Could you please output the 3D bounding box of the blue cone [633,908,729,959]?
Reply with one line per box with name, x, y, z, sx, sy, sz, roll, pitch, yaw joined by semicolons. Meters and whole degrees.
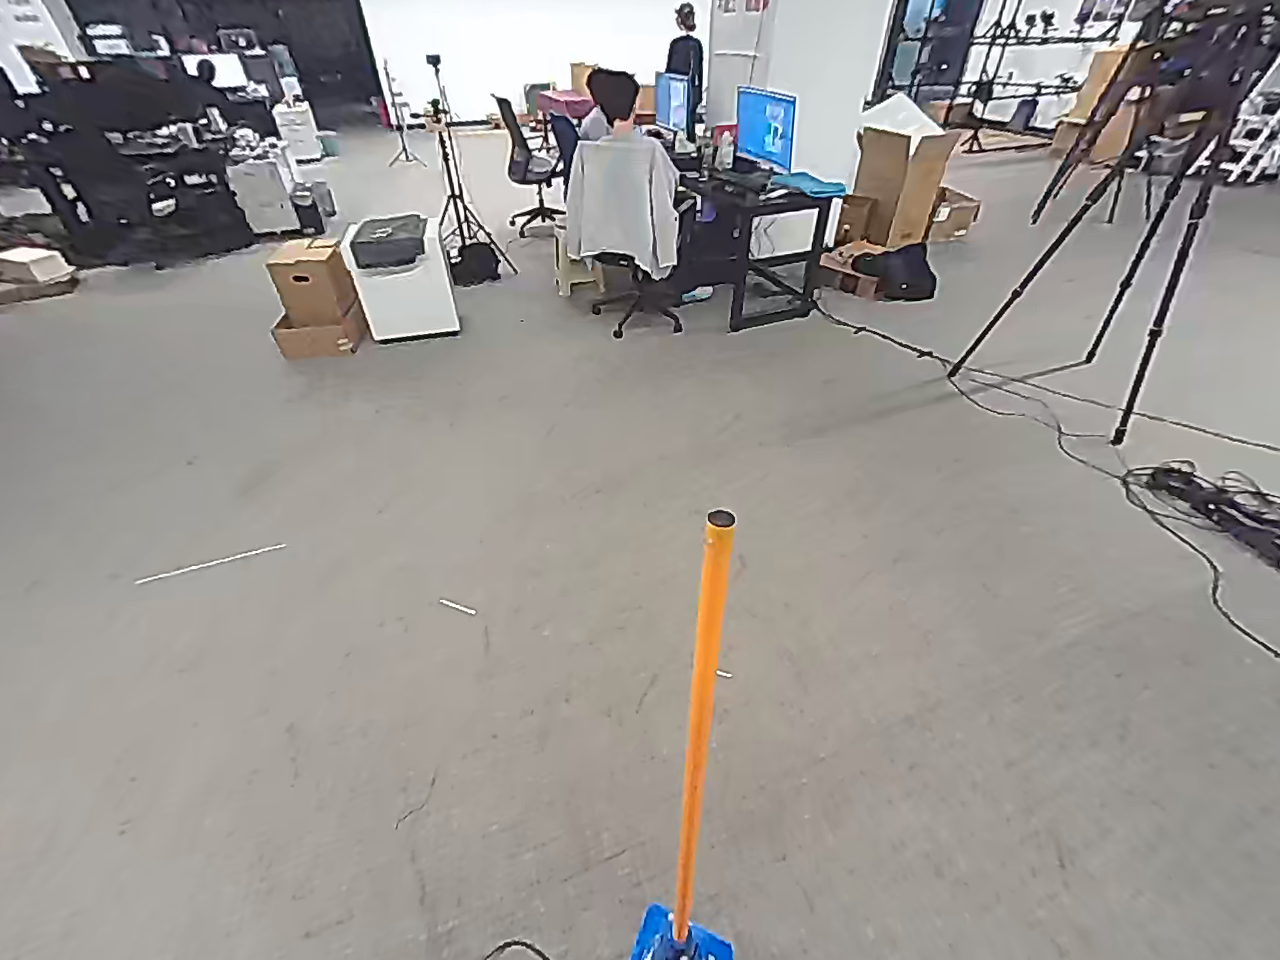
blue cone;0.073;0.883;1.005;0.192;0.380;0.193;14;40;18
